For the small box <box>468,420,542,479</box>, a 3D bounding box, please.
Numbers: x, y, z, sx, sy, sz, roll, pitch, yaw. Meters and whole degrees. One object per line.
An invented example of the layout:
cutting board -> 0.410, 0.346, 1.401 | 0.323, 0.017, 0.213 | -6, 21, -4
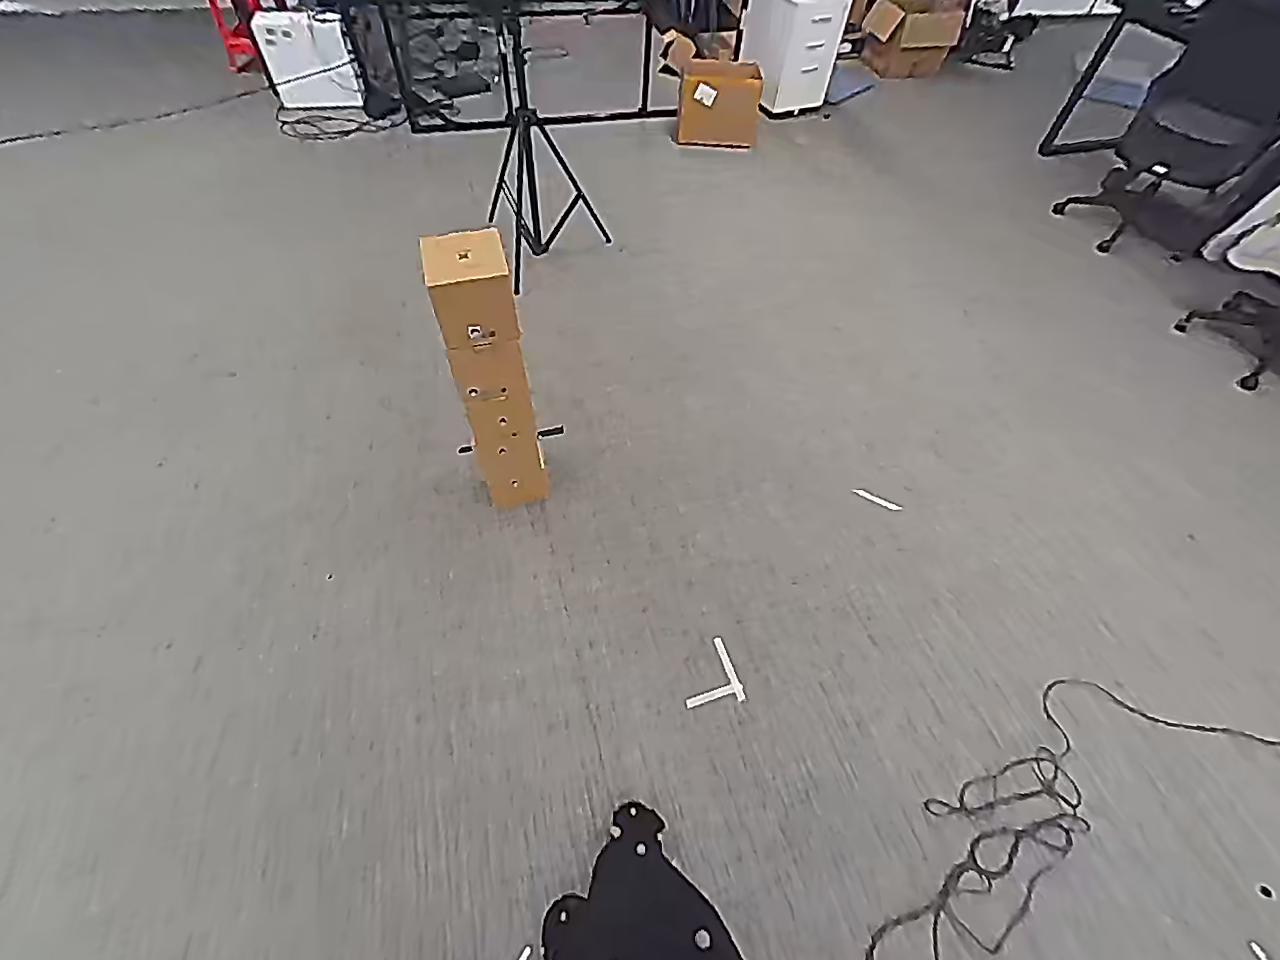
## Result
small box -> -0.390, -0.121, 1.566 | 0.179, 0.176, 0.168 | -10, 57, -10

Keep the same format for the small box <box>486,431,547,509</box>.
small box -> -0.392, -0.031, 1.703 | 0.179, 0.176, 0.168 | -12, 57, -11

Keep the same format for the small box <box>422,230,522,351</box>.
small box -> -0.361, -0.409, 1.171 | 0.168, 0.176, 0.179 | -14, 58, -11

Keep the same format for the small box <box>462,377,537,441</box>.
small box -> -0.375, -0.219, 1.436 | 0.168, 0.176, 0.179 | -11, 57, -10

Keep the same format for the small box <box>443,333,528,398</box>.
small box -> -0.371, -0.315, 1.302 | 0.168, 0.176, 0.179 | -11, 56, -11
